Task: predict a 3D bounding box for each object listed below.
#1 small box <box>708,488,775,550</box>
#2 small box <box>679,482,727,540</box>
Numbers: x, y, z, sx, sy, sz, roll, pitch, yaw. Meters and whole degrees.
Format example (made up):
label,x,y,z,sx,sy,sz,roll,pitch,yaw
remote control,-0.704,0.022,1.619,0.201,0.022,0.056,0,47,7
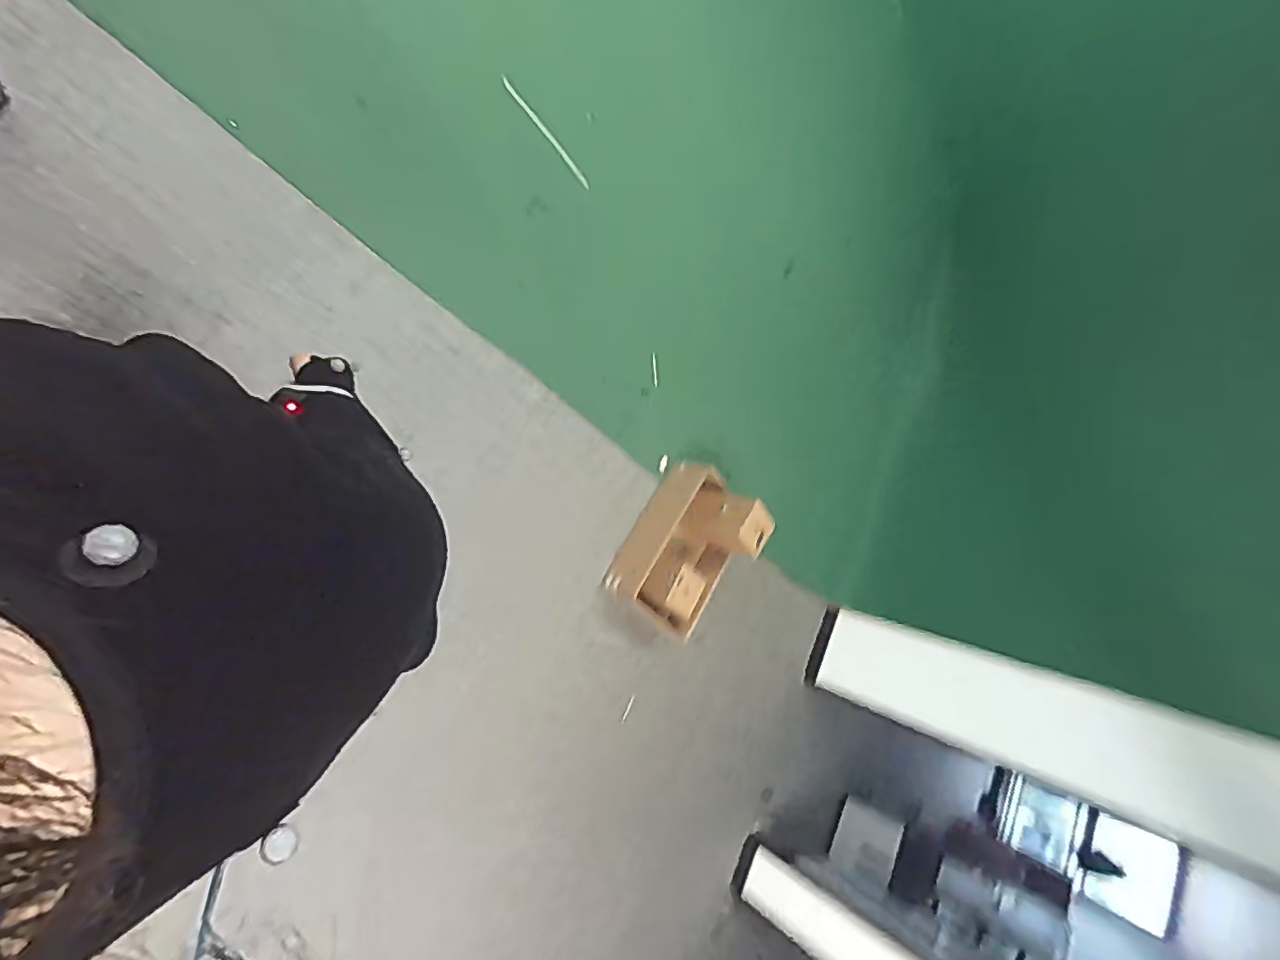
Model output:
label,x,y,z,sx,sy,sz,roll,pitch,yaw
small box,0.401,0.149,2.140,0.168,0.176,0.179,-55,128,-20
small box,0.293,0.124,2.261,0.168,0.176,0.179,-56,130,-18
